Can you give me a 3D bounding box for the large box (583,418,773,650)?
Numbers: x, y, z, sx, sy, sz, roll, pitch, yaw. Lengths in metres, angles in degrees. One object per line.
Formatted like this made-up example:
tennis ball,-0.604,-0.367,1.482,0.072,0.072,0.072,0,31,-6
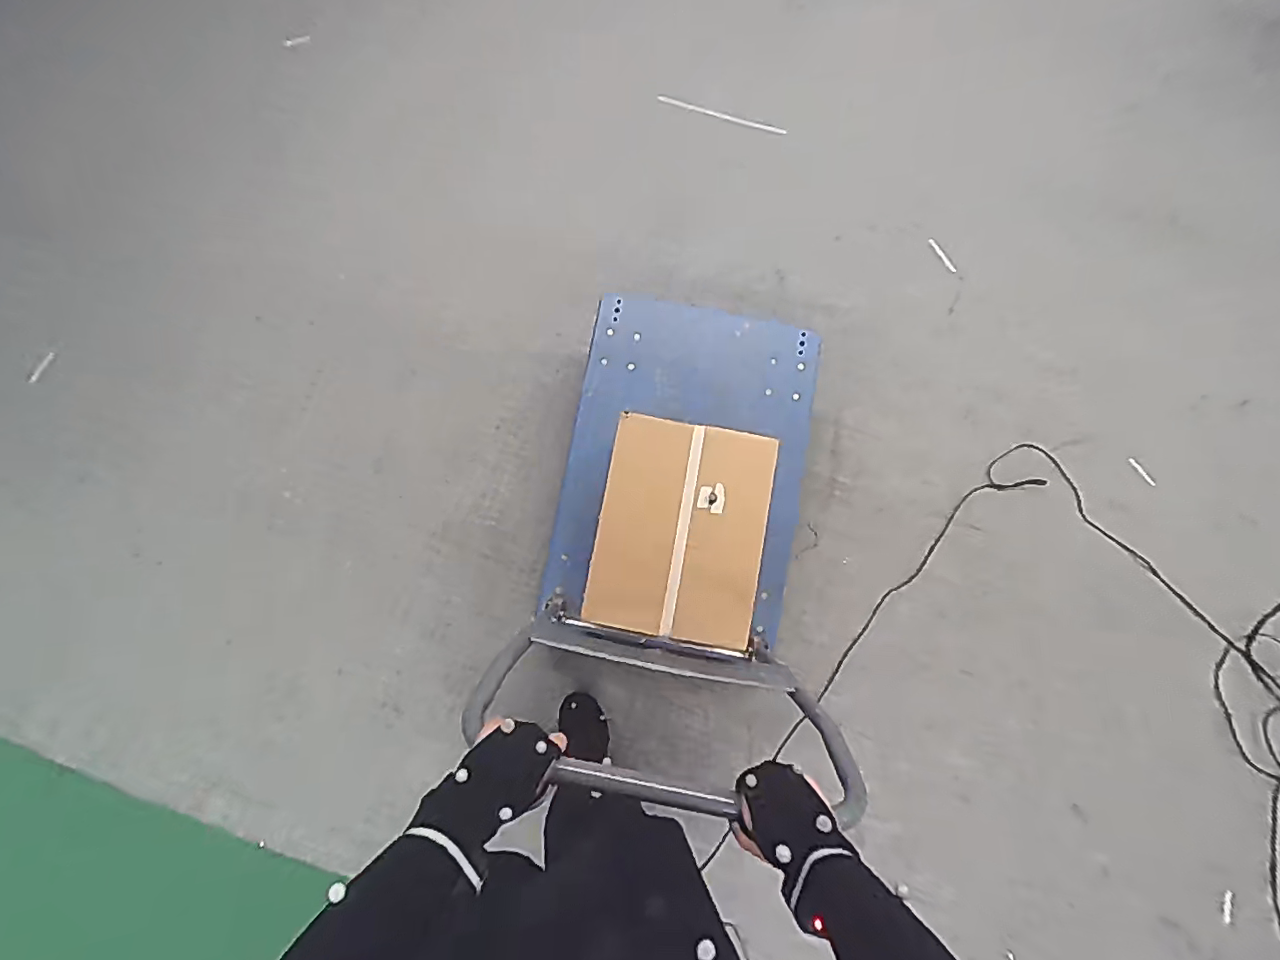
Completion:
large box,0.077,0.120,1.167,0.320,0.320,0.408,10,81,1
